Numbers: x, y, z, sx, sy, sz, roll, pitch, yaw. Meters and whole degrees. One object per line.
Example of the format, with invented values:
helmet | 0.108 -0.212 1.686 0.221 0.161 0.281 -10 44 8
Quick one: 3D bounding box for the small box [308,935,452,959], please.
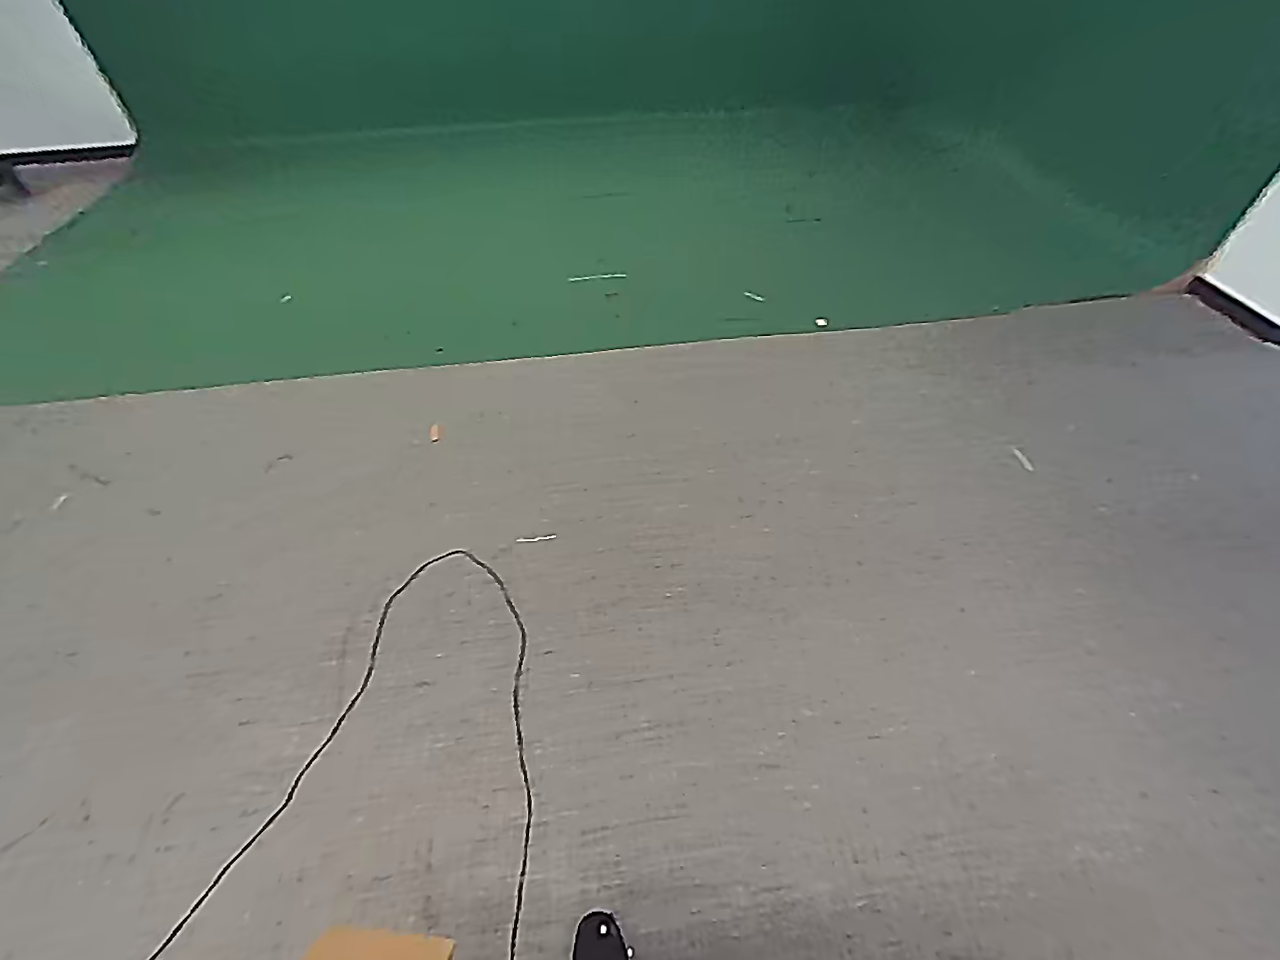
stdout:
small box | -0.327 0.658 0.597 0.168 0.179 0.176 7 78 -2
